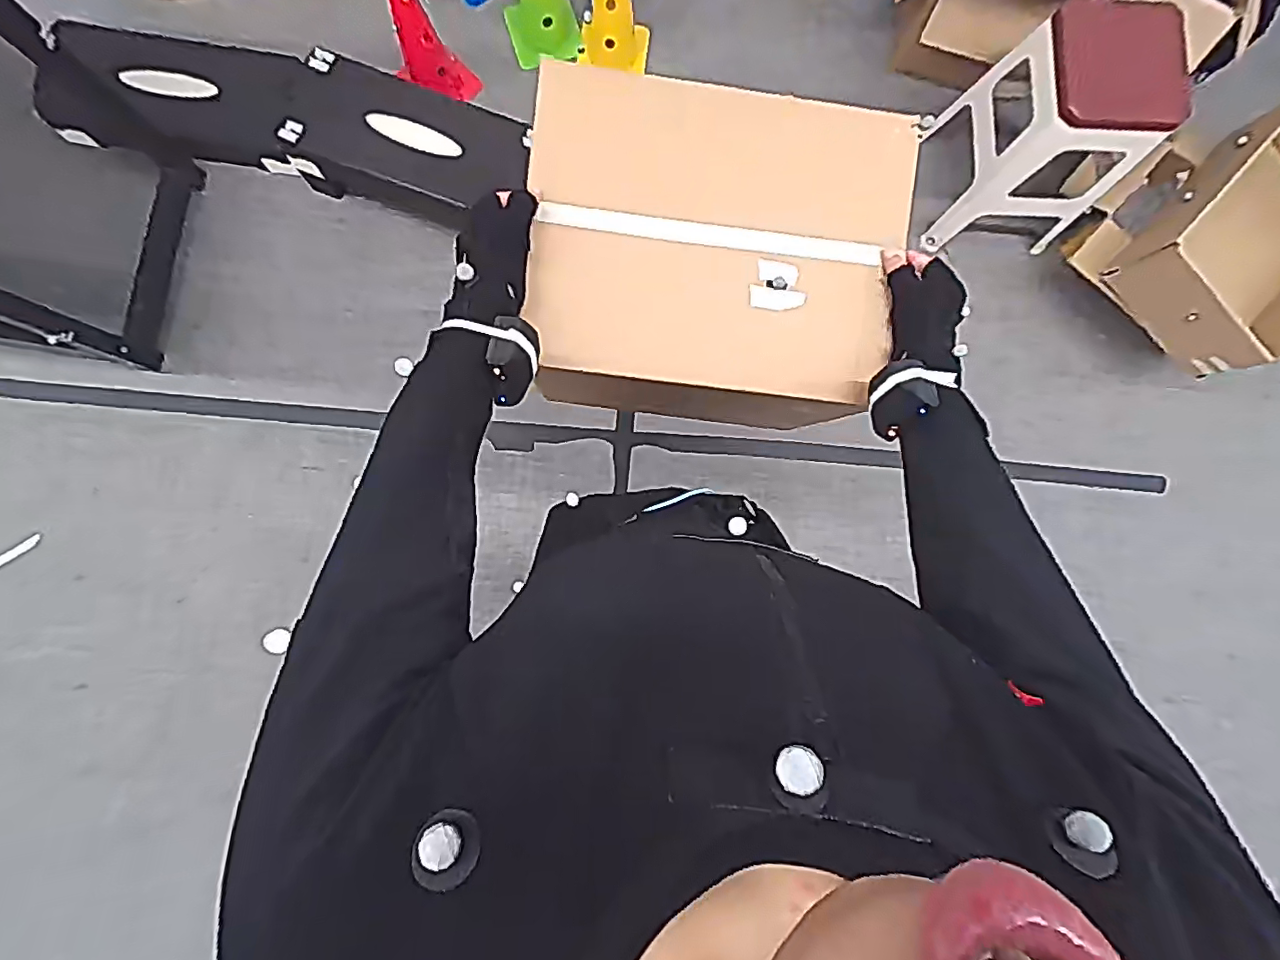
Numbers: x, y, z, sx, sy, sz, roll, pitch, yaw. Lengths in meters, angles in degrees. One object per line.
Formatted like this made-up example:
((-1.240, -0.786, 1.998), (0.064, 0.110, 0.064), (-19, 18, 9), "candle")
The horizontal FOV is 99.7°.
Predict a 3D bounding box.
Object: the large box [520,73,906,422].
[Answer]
((0.071, -0.262, 0.729), (0.408, 0.320, 0.320), (6, 91, -4), "large box")
